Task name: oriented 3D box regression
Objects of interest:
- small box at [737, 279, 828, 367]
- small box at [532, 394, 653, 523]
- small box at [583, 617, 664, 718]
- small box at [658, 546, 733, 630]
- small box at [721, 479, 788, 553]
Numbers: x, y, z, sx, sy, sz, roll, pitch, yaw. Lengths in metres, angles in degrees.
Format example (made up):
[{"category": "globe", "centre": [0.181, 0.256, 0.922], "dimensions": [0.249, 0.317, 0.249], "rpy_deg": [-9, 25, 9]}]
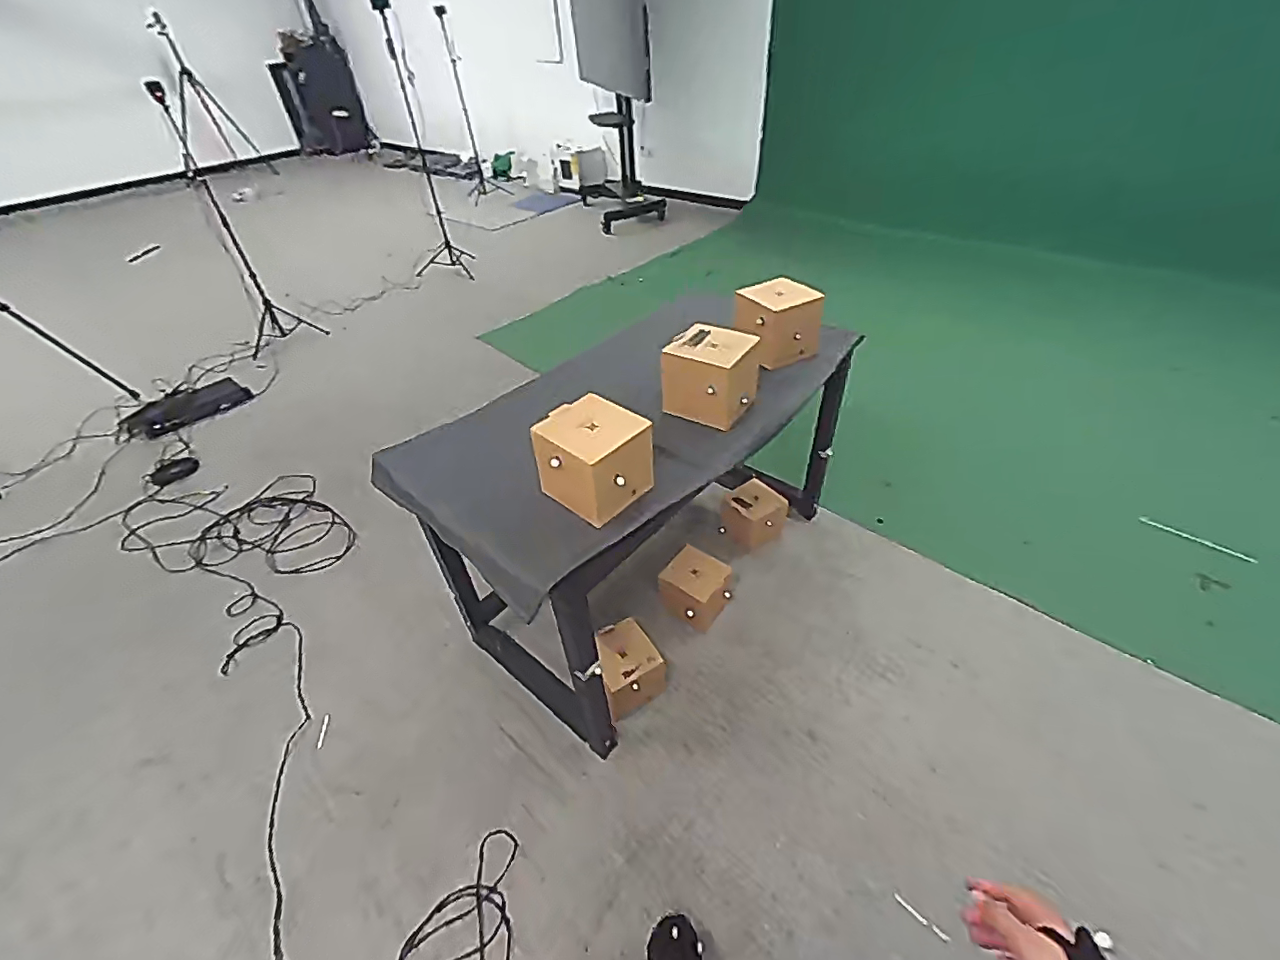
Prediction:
[{"category": "small box", "centre": [0.380, -0.423, 1.470], "dimensions": [0.168, 0.176, 0.179], "rpy_deg": [-21, 42, -19]}, {"category": "small box", "centre": [-0.086, -0.039, 1.076], "dimensions": [0.179, 0.176, 0.168], "rpy_deg": [30, 52, 32]}, {"category": "small box", "centre": [-0.046, 0.532, 1.529], "dimensions": [0.168, 0.176, 0.179], "rpy_deg": [-24, 45, -21]}, {"category": "small box", "centre": [0.176, 0.349, 1.718], "dimensions": [0.179, 0.176, 0.168], "rpy_deg": [26, 49, 30]}, {"category": "small box", "centre": [0.406, 0.133, 1.944], "dimensions": [0.179, 0.176, 0.168], "rpy_deg": [-26, 47, -25]}]
